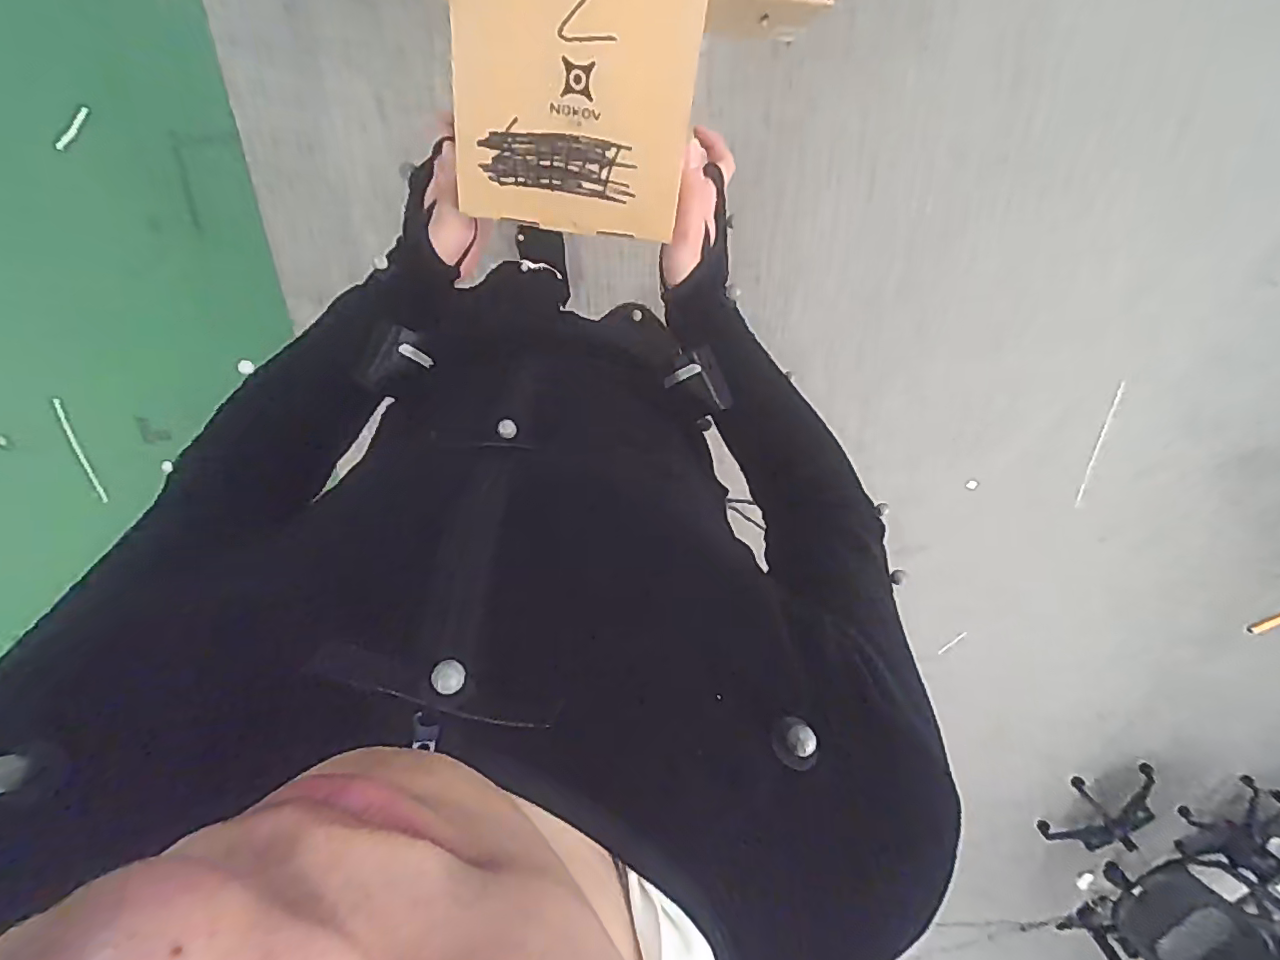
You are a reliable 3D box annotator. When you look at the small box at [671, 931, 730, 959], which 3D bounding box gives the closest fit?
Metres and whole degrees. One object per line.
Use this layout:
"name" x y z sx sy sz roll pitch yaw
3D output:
"small box" 0.183 1.463 1.590 0.168 0.176 0.179 -5 118 -4
